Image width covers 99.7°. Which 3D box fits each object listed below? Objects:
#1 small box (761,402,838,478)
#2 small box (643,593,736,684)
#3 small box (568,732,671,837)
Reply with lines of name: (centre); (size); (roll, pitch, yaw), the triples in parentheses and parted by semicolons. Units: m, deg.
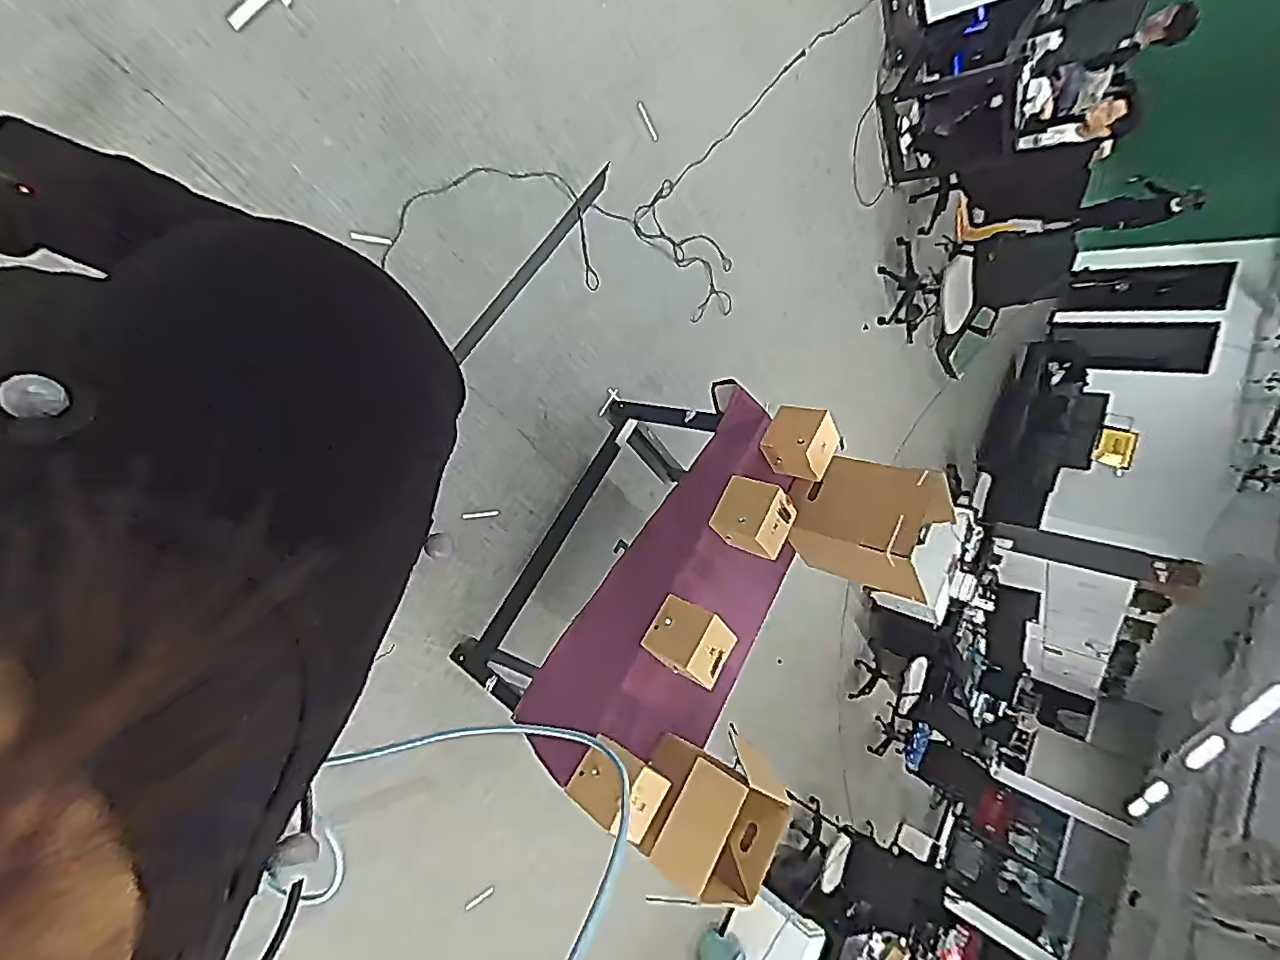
small box: (0.522, -0.137, 1.775); (0.168, 0.176, 0.179); (46, 69, -44)
small box: (0.140, 0.445, 1.534); (0.168, 0.176, 0.179); (-57, 135, -19)
small box: (-0.055, 0.795, 1.423); (0.168, 0.176, 0.179); (-55, 135, -22)
